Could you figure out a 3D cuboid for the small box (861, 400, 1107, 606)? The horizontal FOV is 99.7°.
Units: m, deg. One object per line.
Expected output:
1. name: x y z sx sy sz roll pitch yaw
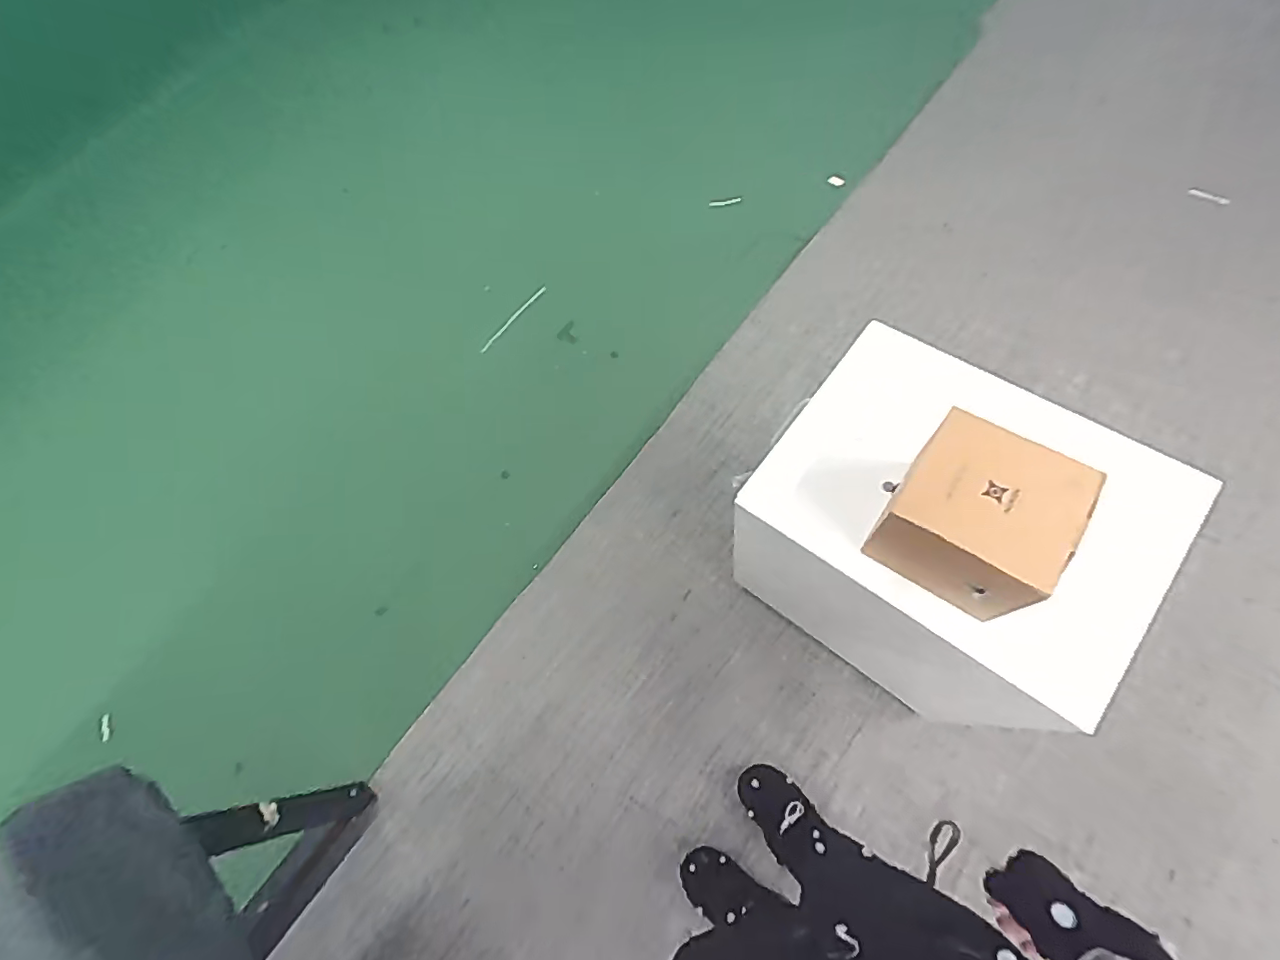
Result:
1. small box: 0.404 0.039 0.668 0.179 0.176 0.168 31 75 21
